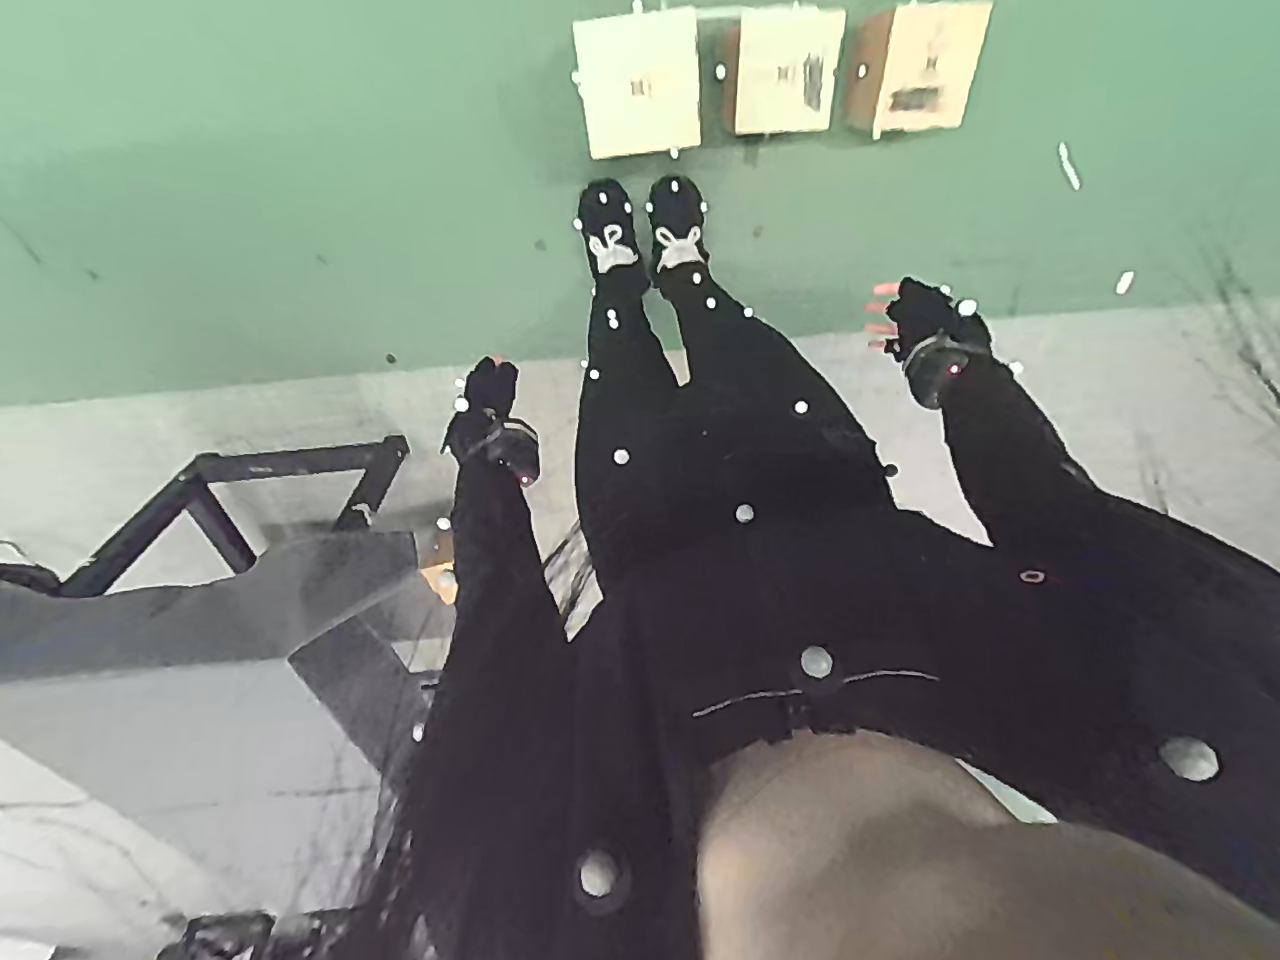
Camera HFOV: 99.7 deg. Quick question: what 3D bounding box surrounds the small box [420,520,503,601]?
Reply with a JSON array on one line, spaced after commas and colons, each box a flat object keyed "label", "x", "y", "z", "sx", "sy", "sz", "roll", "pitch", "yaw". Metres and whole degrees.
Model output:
[{"label": "small box", "x": -0.550, "y": 0.249, "z": 1.691, "sx": 0.179, "sy": 0.176, "sz": 0.168, "roll": -14, "pitch": 127, "yaw": 7}]

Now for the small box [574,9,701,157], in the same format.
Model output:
[{"label": "small box", "x": -0.001, "y": -0.625, "z": 0.861, "sx": 0.179, "sy": 0.176, "sz": 0.168, "roll": -7, "pitch": 127, "yaw": 1}]
